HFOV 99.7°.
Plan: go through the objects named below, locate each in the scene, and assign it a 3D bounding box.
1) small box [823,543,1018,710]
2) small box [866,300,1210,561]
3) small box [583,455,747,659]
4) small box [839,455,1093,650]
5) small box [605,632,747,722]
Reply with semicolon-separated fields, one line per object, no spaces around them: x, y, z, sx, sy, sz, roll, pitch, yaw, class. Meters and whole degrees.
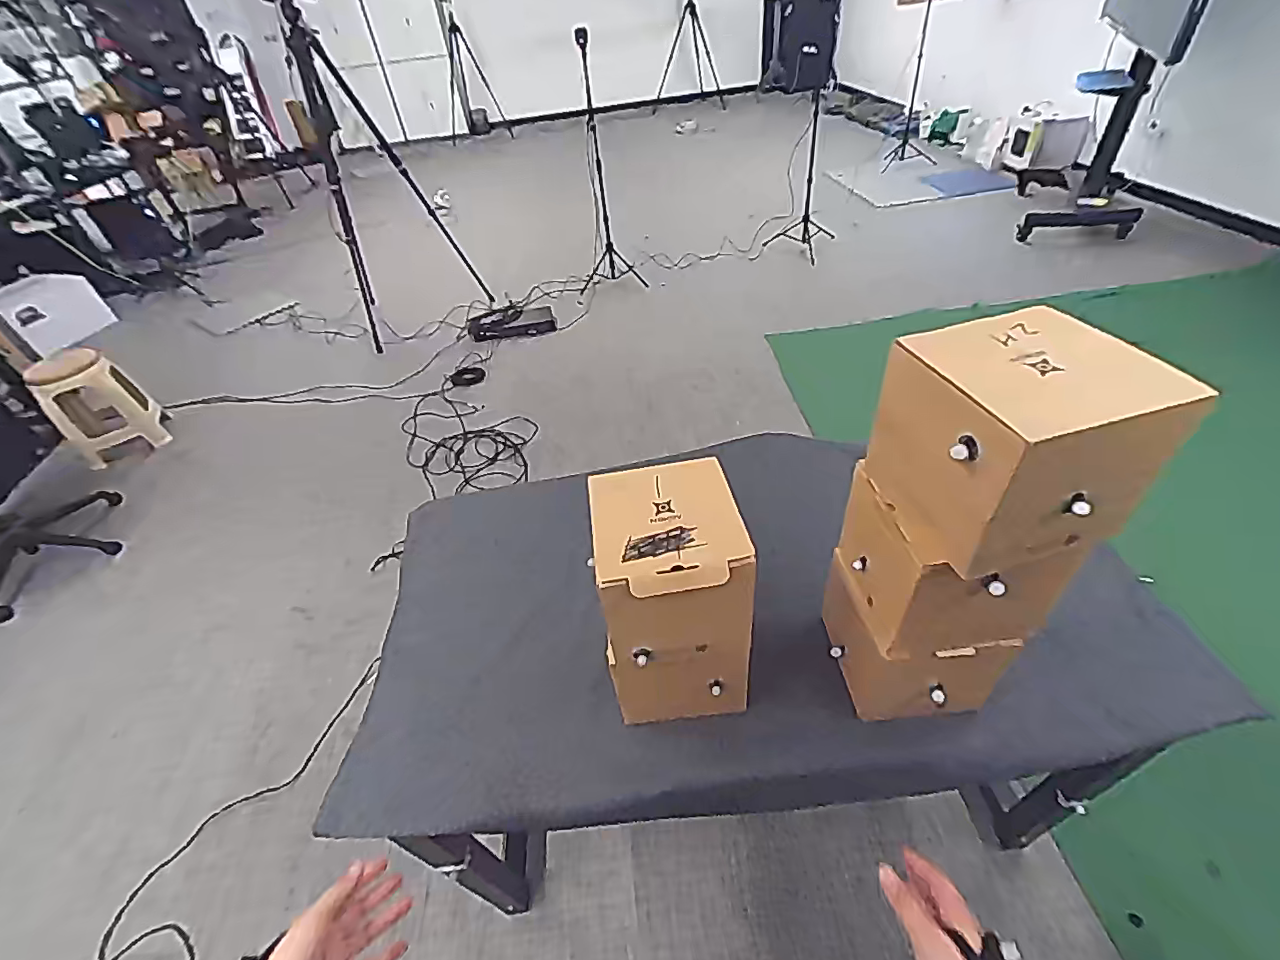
0.361;0.196;0.738;0.168;0.176;0.179;-8;42;2;small box
0.342;-0.043;0.513;0.168;0.176;0.179;-14;42;-6;small box
0.029;0.098;0.658;0.168;0.176;0.179;-10;40;-2;small box
0.352;0.075;0.629;0.179;0.176;0.168;-9;42;1;small box
0.048;0.221;0.766;0.179;0.176;0.168;-8;41;2;small box
